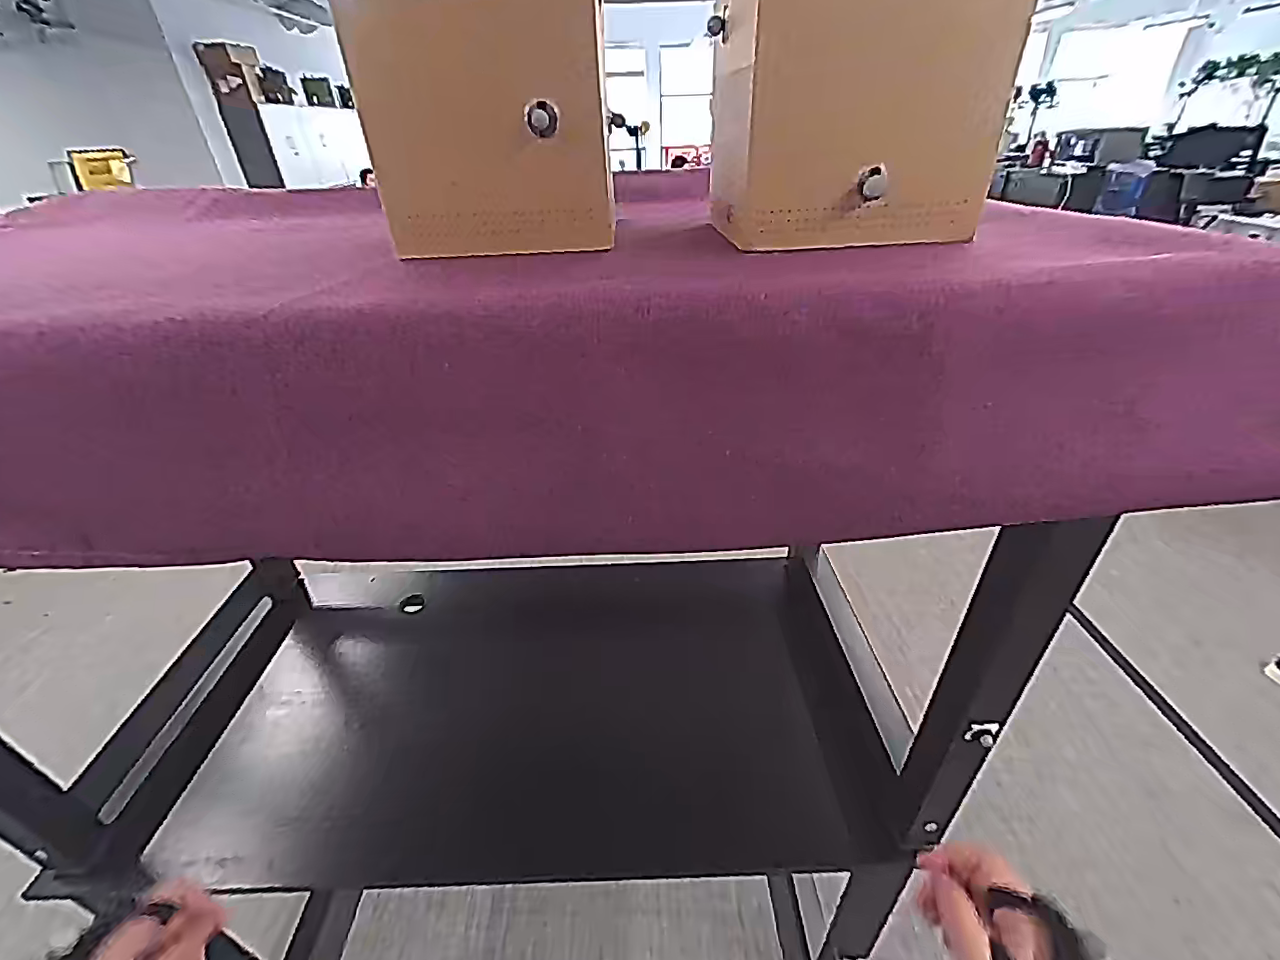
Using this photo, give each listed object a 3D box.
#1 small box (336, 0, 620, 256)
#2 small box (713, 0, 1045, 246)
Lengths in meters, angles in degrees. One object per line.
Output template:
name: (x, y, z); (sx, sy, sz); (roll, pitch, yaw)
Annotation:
small box: (-0.108, -0.293, 0.453); (0.179, 0.176, 0.168); (-3, 32, 1)
small box: (0.158, -0.287, 0.421); (0.179, 0.176, 0.168); (-3, 32, -1)
